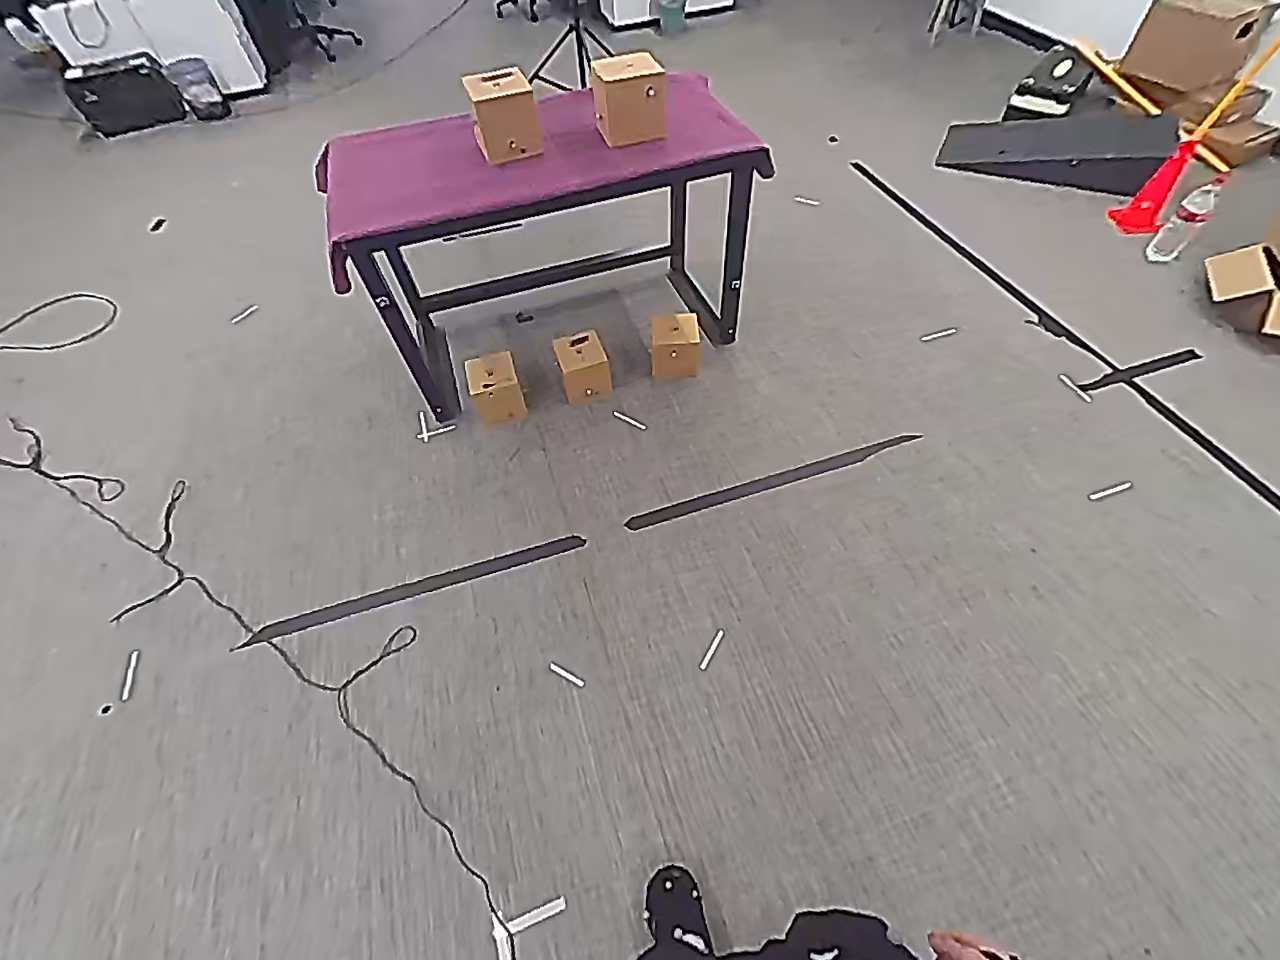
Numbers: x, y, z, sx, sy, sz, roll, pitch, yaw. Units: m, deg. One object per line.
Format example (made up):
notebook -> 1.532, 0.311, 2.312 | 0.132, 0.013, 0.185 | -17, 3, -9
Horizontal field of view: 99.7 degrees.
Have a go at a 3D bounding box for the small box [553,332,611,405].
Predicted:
small box -> -0.211, -0.409, 1.993 | 0.168, 0.176, 0.179 | -18, 57, -8

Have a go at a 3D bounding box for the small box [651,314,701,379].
small box -> 0.132, -0.499, 2.036 | 0.179, 0.176, 0.168 | -4, 55, 2

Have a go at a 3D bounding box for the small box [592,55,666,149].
small box -> -0.030, -1.098, 1.573 | 0.179, 0.176, 0.168 | -16, 55, -7

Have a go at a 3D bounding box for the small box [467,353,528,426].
small box -> -0.514, -0.324, 1.954 | 0.168, 0.176, 0.179 | -16, 55, -8
